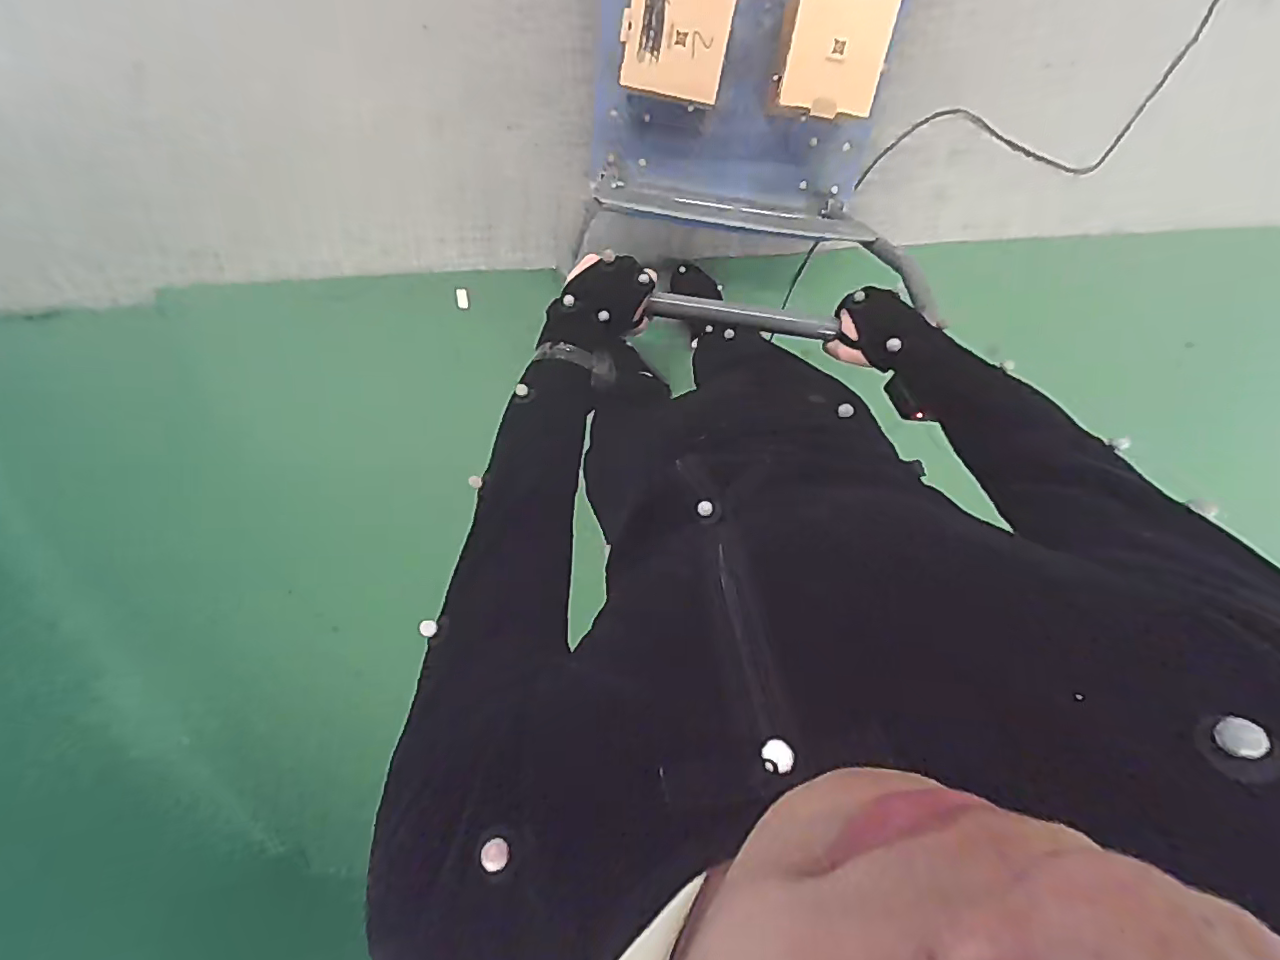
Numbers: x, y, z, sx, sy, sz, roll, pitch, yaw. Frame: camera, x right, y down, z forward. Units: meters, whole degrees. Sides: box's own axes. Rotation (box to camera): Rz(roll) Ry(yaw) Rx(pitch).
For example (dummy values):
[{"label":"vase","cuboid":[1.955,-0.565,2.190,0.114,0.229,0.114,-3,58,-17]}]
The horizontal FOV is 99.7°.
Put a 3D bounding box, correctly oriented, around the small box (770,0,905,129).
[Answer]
[{"label":"small box","cuboid":[0.346,-0.761,0.992,0.168,0.176,0.179,8,122,-1]}]
